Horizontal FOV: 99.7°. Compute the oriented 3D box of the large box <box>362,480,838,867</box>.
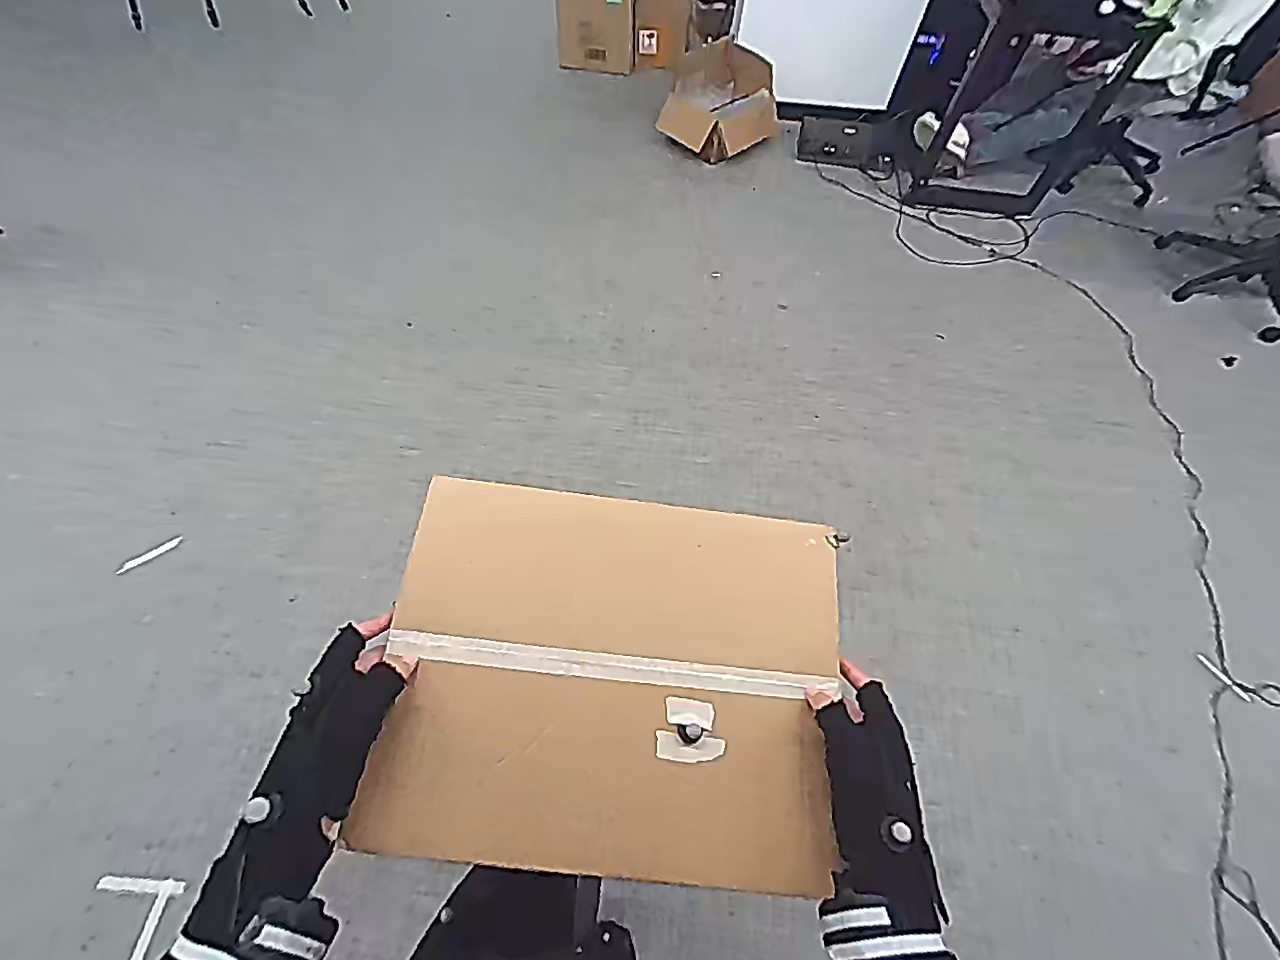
[{"bbox_3d":[-0.031,0.217,0.637,0.408,0.320,0.320,8,69,-3],"label":"large box"}]
